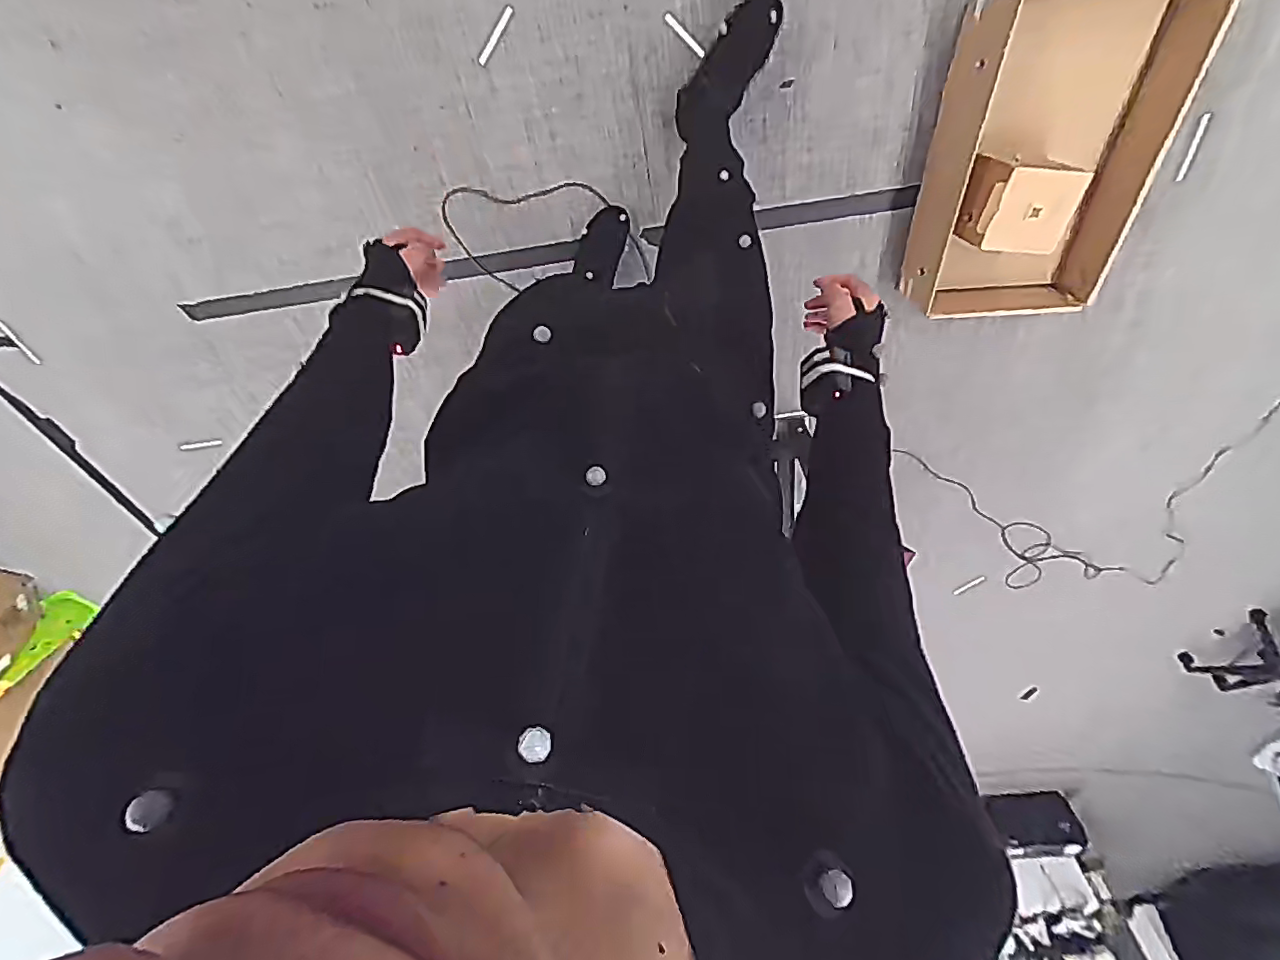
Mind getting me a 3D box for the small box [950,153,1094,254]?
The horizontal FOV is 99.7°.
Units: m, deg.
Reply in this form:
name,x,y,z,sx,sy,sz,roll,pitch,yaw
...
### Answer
name,x,y,z,sx,sy,sz,roll,pitch,yaw
small box,0.838,-0.624,1.213,0.179,0.176,0.168,3,130,-3
